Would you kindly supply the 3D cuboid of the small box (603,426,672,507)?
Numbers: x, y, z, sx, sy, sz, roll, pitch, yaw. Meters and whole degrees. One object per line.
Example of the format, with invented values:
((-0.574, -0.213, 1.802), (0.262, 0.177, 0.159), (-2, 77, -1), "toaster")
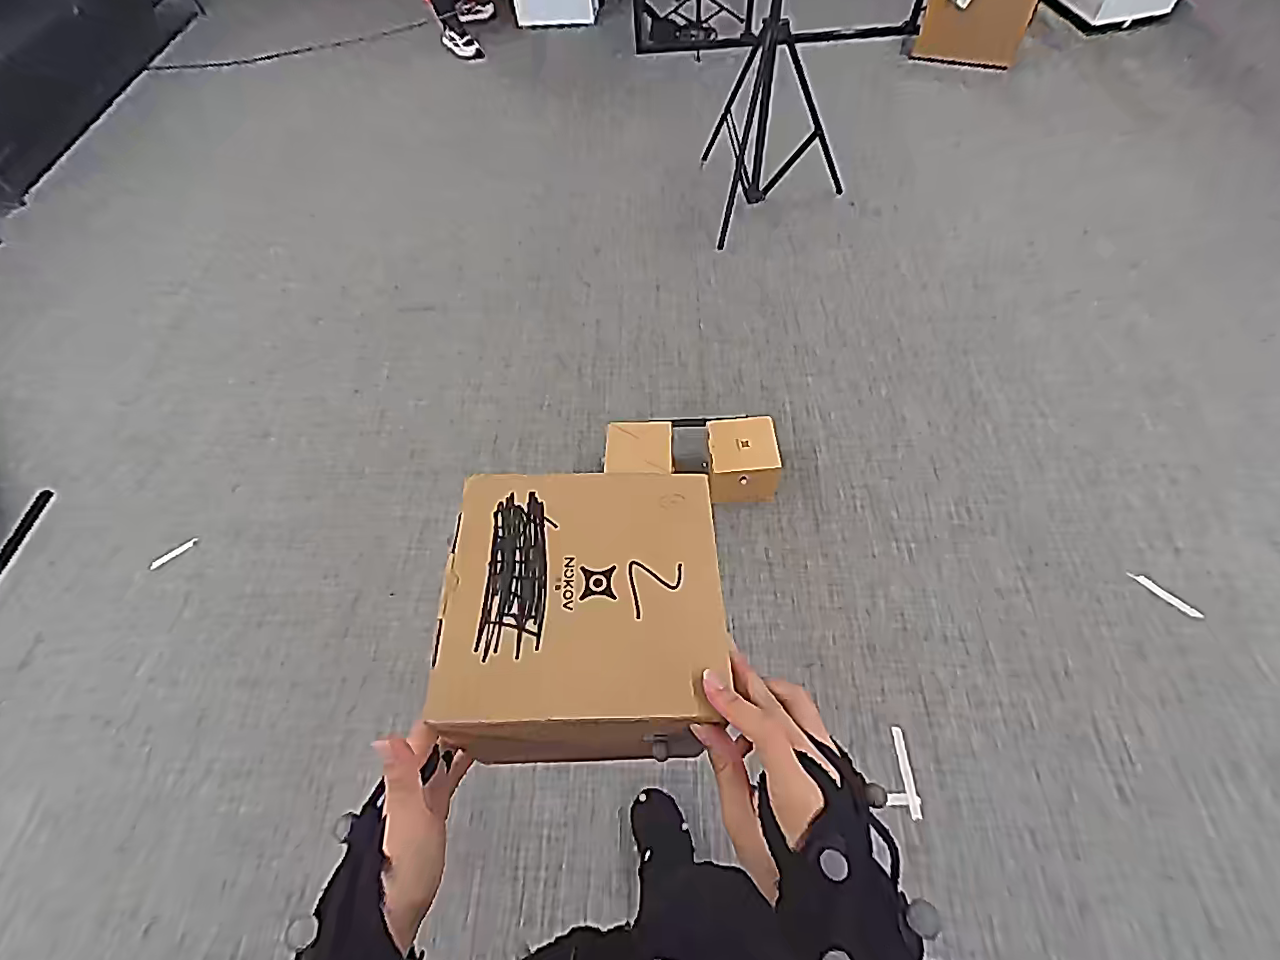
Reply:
((-0.001, -0.037, 1.491), (0.179, 0.176, 0.168), (0, 60, 4), "small box")

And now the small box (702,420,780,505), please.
((0.269, -0.043, 1.479), (0.179, 0.176, 0.168), (-5, 59, 1), "small box")
